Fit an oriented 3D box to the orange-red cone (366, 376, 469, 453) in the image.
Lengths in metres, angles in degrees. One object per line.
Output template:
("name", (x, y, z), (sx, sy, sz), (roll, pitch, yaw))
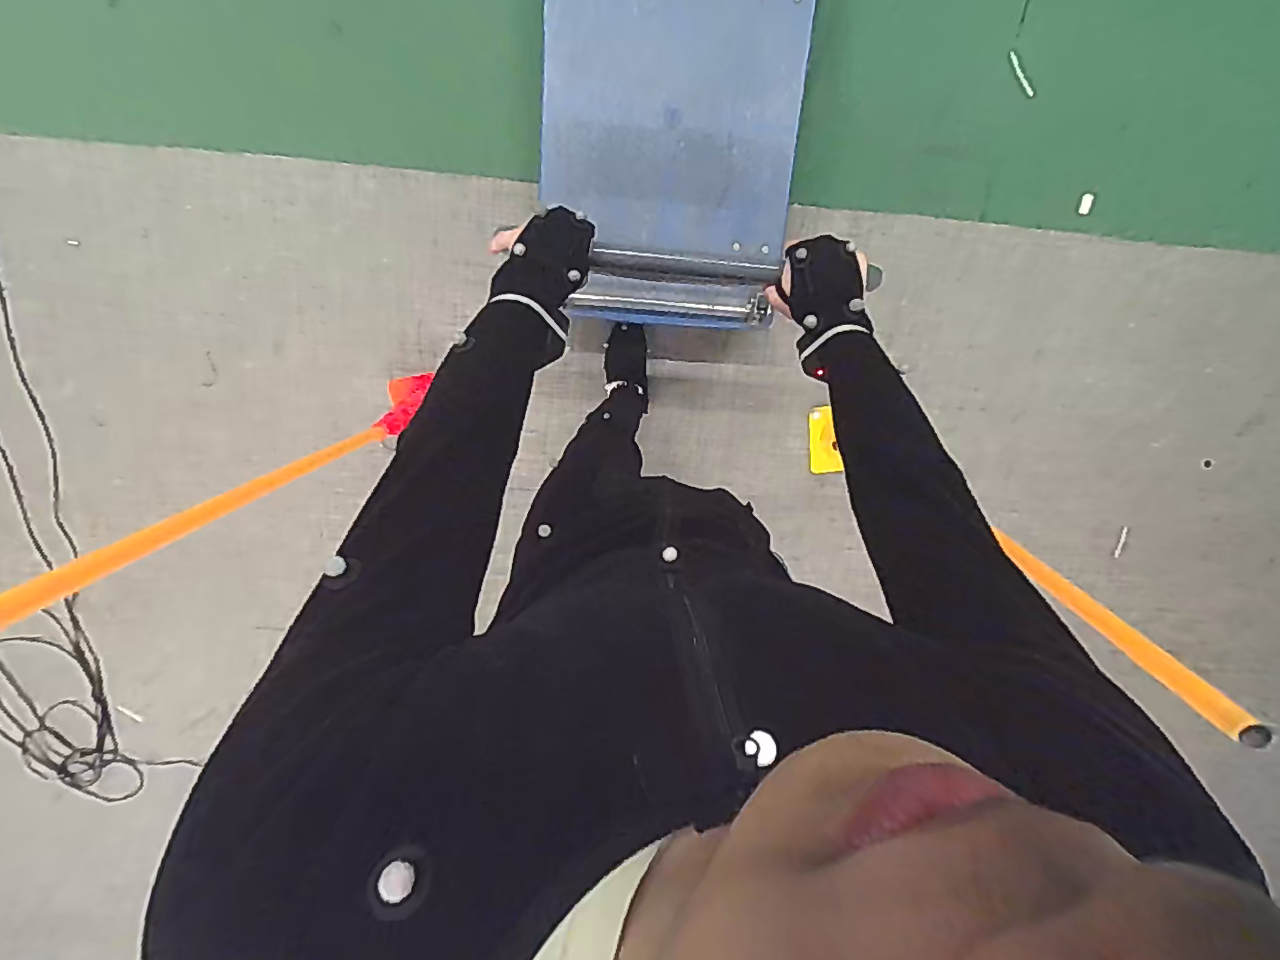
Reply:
("orange-red cone", (-0.584, -0.137, 1.339), (0.199, 0.360, 0.198), (-10, 105, 1))
